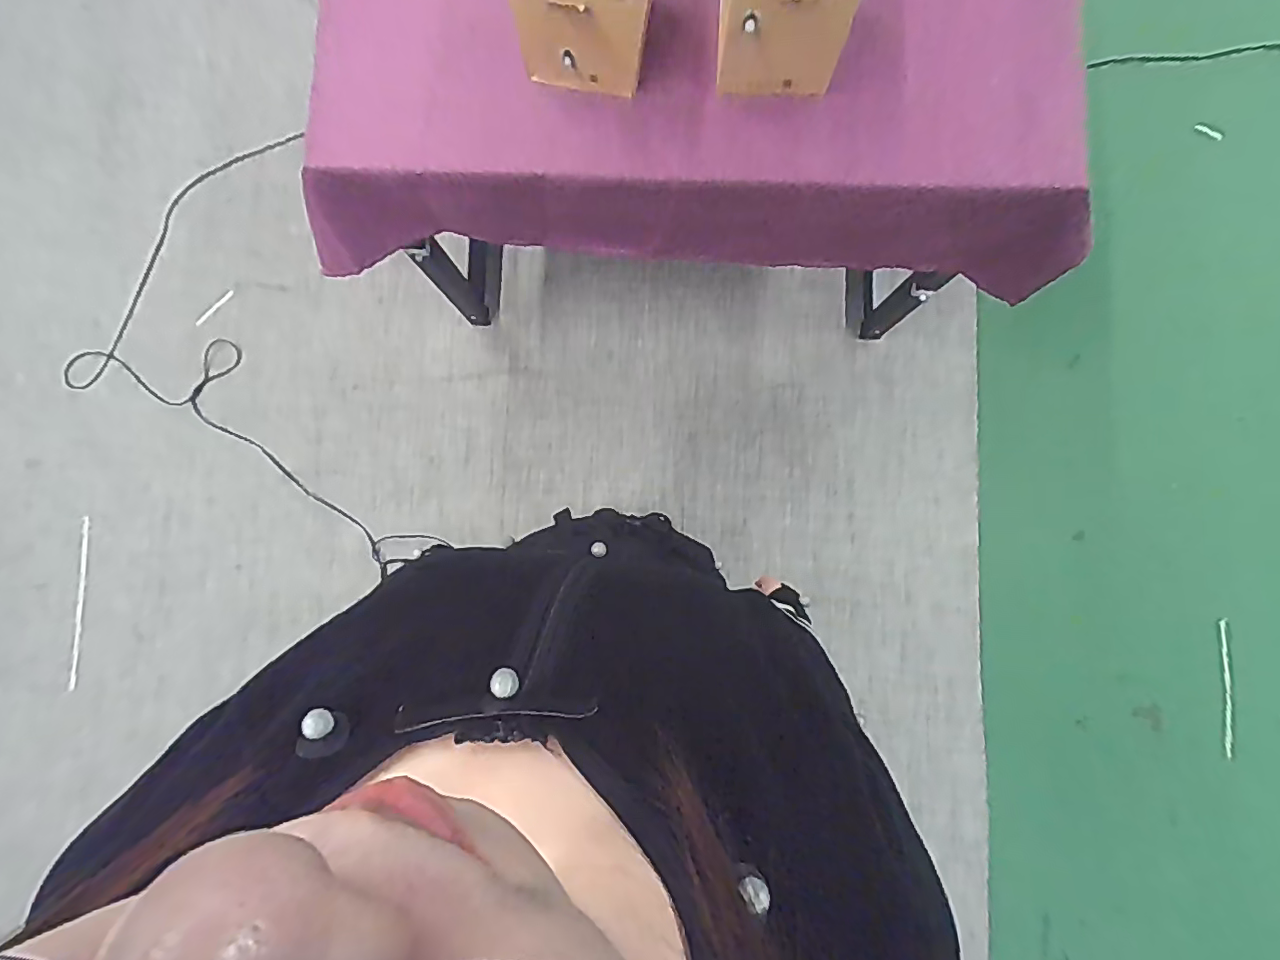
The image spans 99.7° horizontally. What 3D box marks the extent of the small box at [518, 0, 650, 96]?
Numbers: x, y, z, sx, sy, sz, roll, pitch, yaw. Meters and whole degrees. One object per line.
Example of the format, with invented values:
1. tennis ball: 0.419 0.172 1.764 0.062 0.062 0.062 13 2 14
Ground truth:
1. small box: -0.076 -0.711 0.783 0.168 0.176 0.179 10 87 1
